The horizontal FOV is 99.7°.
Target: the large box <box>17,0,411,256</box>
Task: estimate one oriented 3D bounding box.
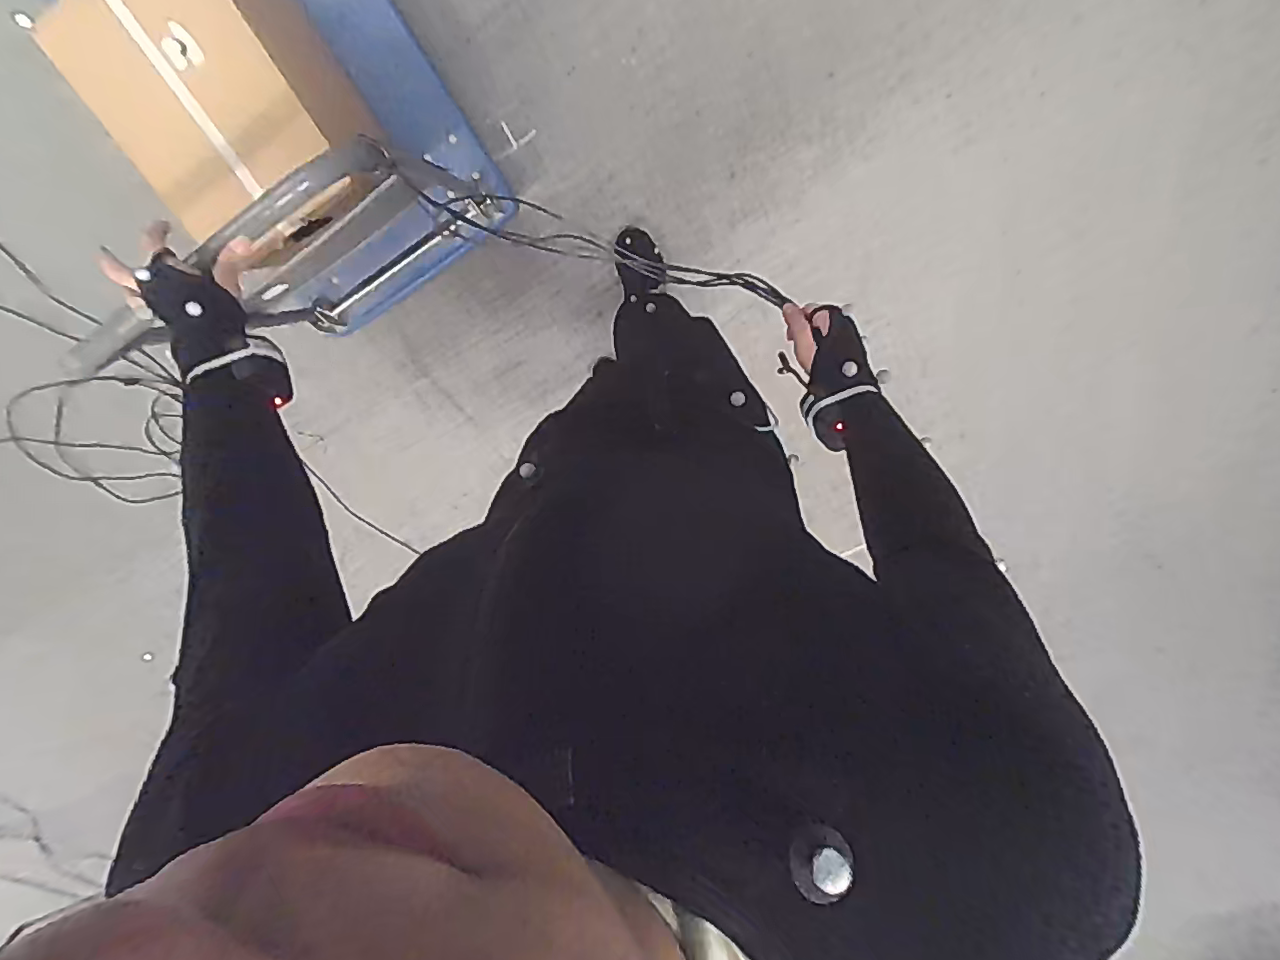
[{"bbox_3d":[-0.716,-0.682,0.993,0.320,0.320,0.408,-25,112,11],"label":"large box"}]
